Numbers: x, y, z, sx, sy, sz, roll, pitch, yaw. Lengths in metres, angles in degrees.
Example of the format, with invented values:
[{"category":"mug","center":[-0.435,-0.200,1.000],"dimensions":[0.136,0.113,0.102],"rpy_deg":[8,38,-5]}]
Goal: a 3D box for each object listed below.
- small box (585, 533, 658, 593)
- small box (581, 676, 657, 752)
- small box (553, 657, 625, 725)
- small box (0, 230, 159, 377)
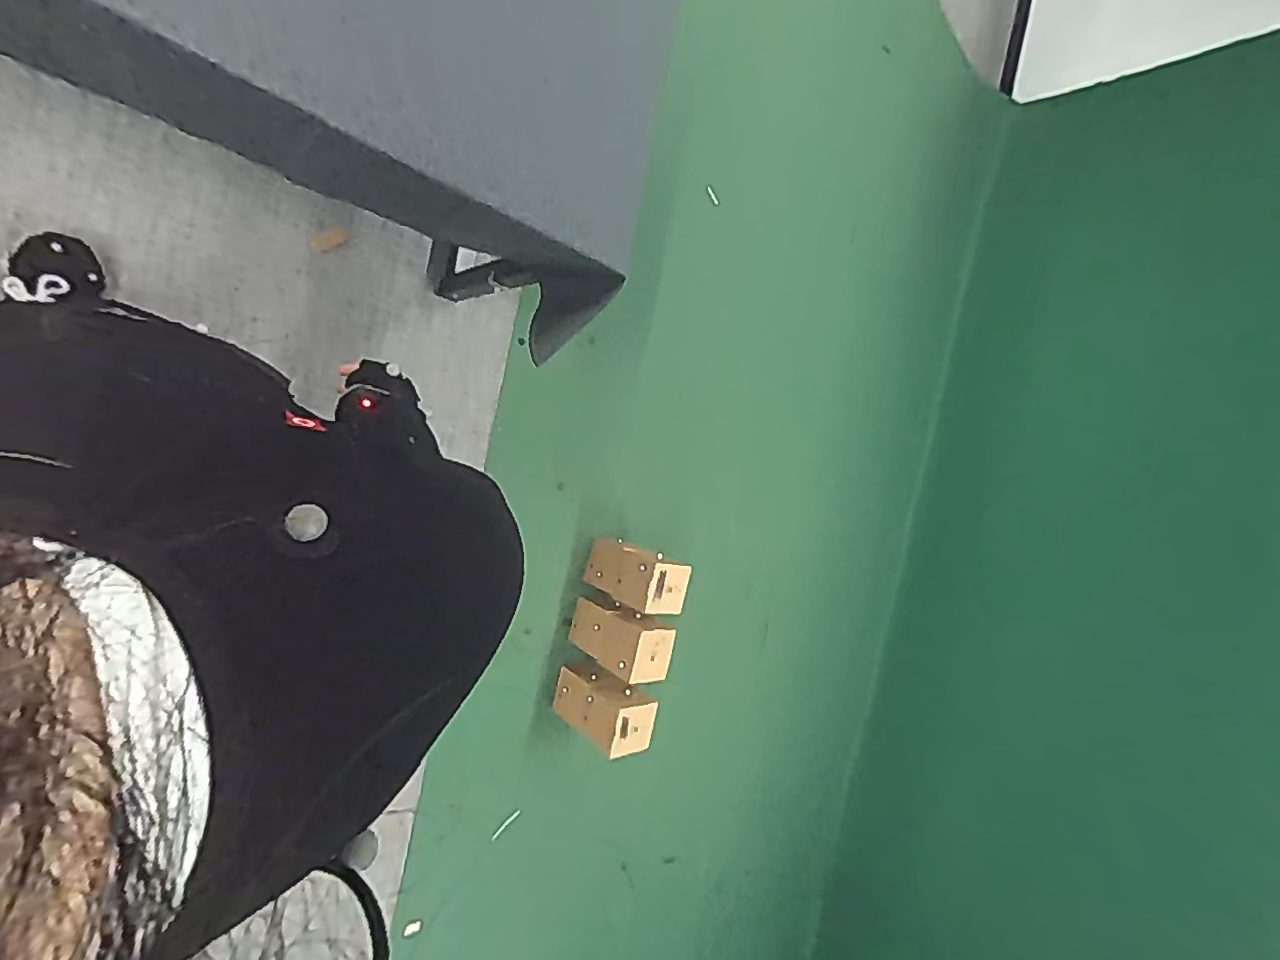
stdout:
[{"category":"small box","center":[-0.071,0.295,1.931],"dimensions":[0.179,0.176,0.168],"rpy_deg":[17,88,-42]},{"category":"small box","center":[-0.076,0.775,1.812],"dimensions":[0.179,0.176,0.168],"rpy_deg":[10,93,-42]},{"category":"small box","center":[-0.182,0.748,1.935],"dimensions":[0.179,0.176,0.168],"rpy_deg":[11,92,-42]},{"category":"small box","center":[-1.044,-0.309,0.965],"dimensions":[0.168,0.176,0.179],"rpy_deg":[-43,105,-8]}]
